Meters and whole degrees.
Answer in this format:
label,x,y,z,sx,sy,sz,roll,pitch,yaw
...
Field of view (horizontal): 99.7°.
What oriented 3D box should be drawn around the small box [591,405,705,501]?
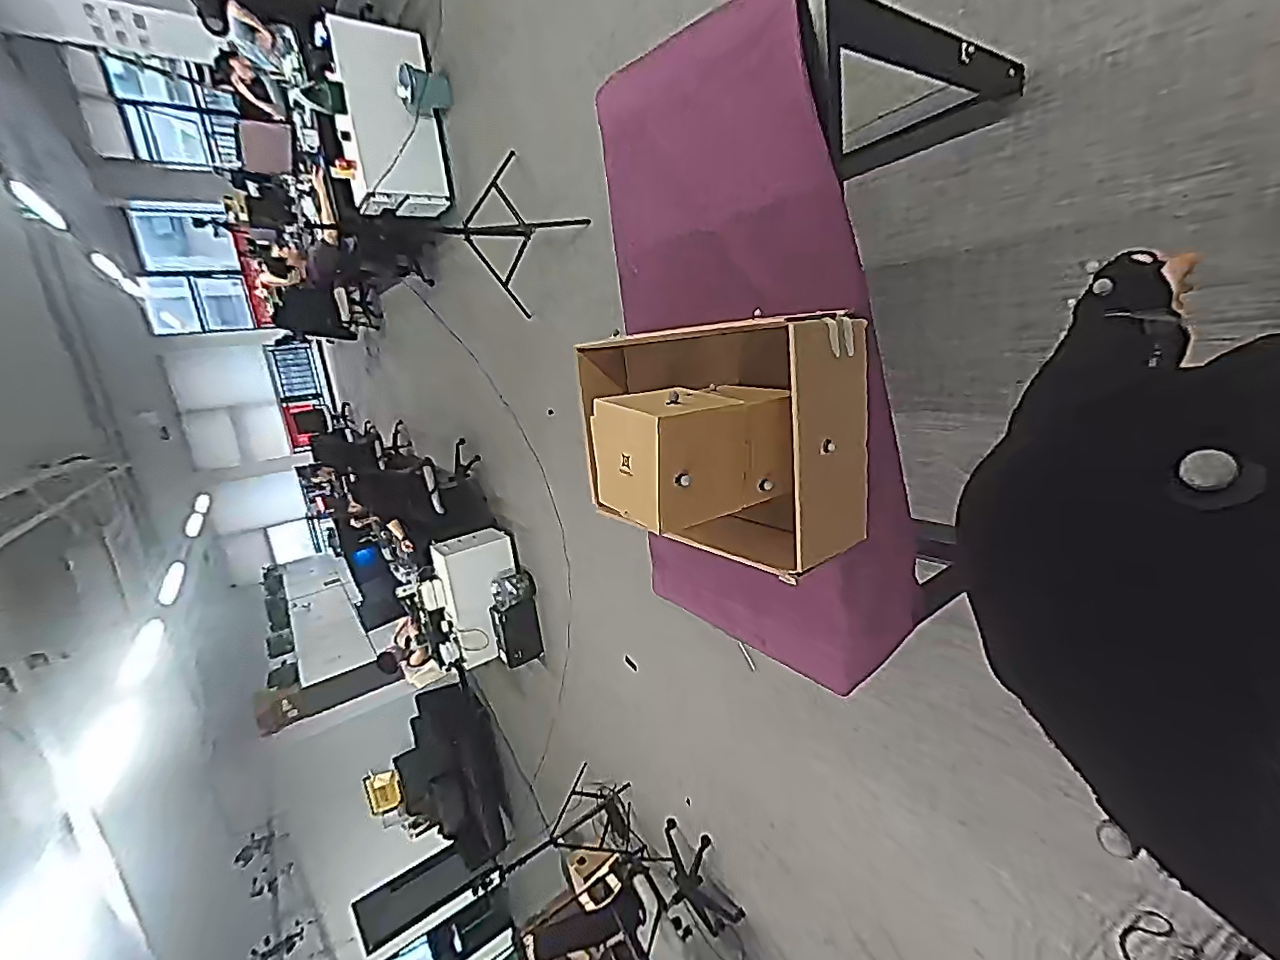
label,x,y,z,sx,sy,sz,roll,pitch,yaw
small box,0.019,-0.067,1.157,0.168,0.176,0.179,8,109,54
